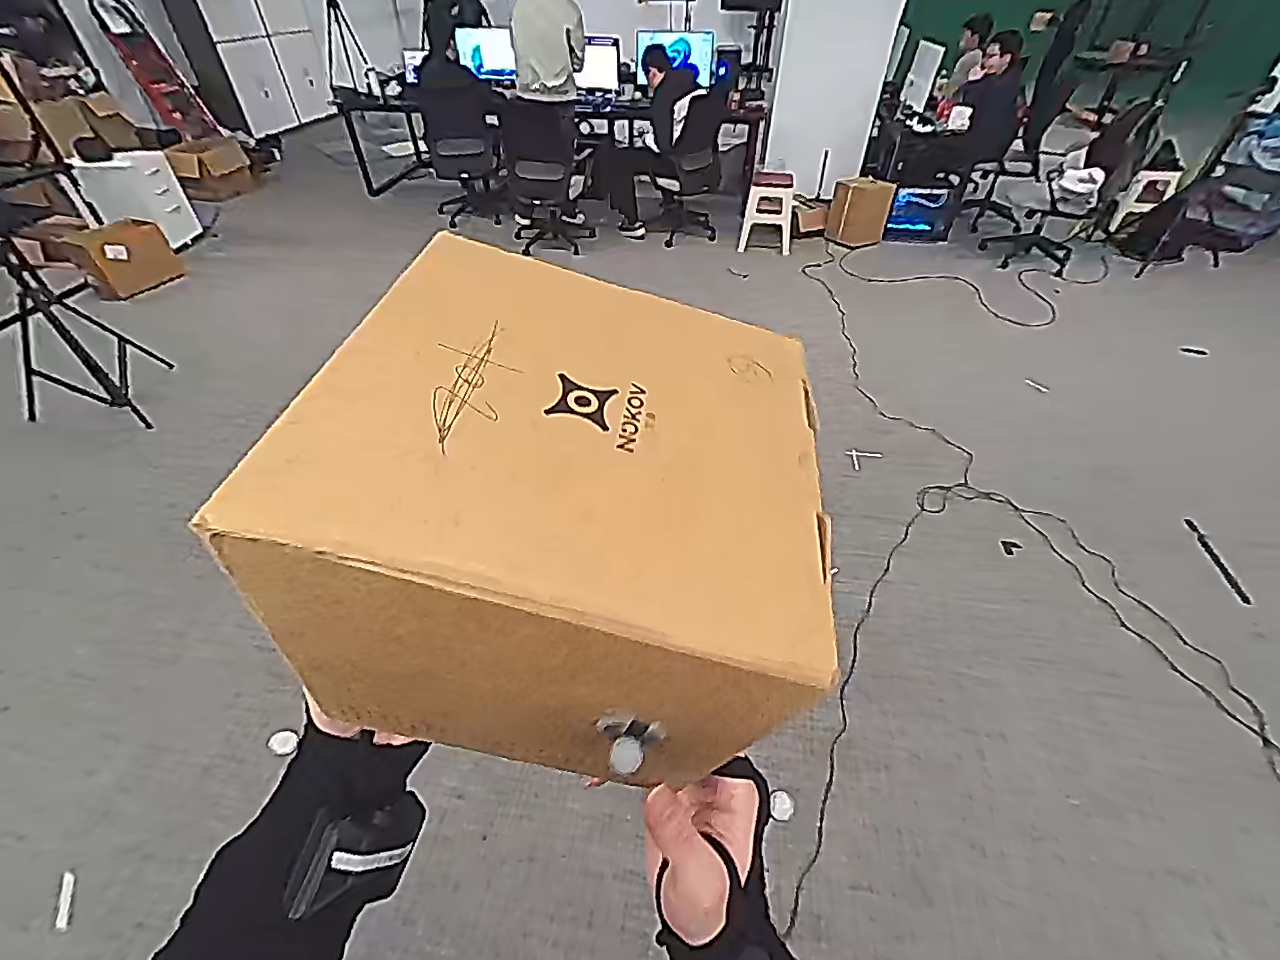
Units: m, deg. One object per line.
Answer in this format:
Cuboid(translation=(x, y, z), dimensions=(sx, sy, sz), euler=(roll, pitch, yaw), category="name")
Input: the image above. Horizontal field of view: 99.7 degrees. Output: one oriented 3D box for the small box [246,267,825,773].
Cuboid(translation=(-0.035, 0.029, 0.269), dimensions=(0.179, 0.176, 0.168), euler=(13, 47, -5), category="small box")
